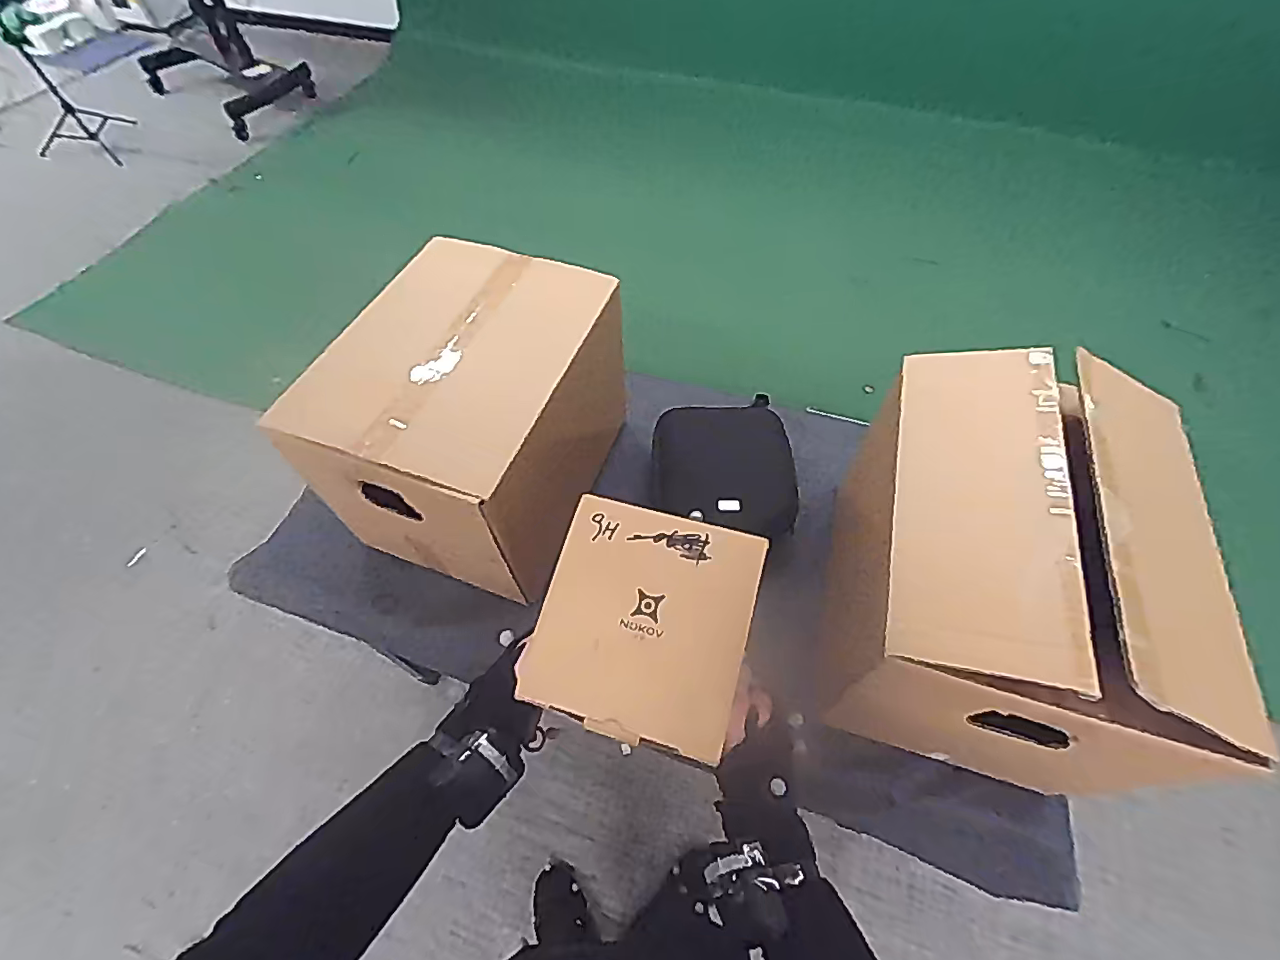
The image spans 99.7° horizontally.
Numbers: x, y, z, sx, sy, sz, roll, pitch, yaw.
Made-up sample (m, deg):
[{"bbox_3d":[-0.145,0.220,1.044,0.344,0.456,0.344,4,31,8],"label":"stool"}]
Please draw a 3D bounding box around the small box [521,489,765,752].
[{"bbox_3d":[0.013,0.132,0.517,0.168,0.176,0.179,14,72,11],"label":"small box"}]
